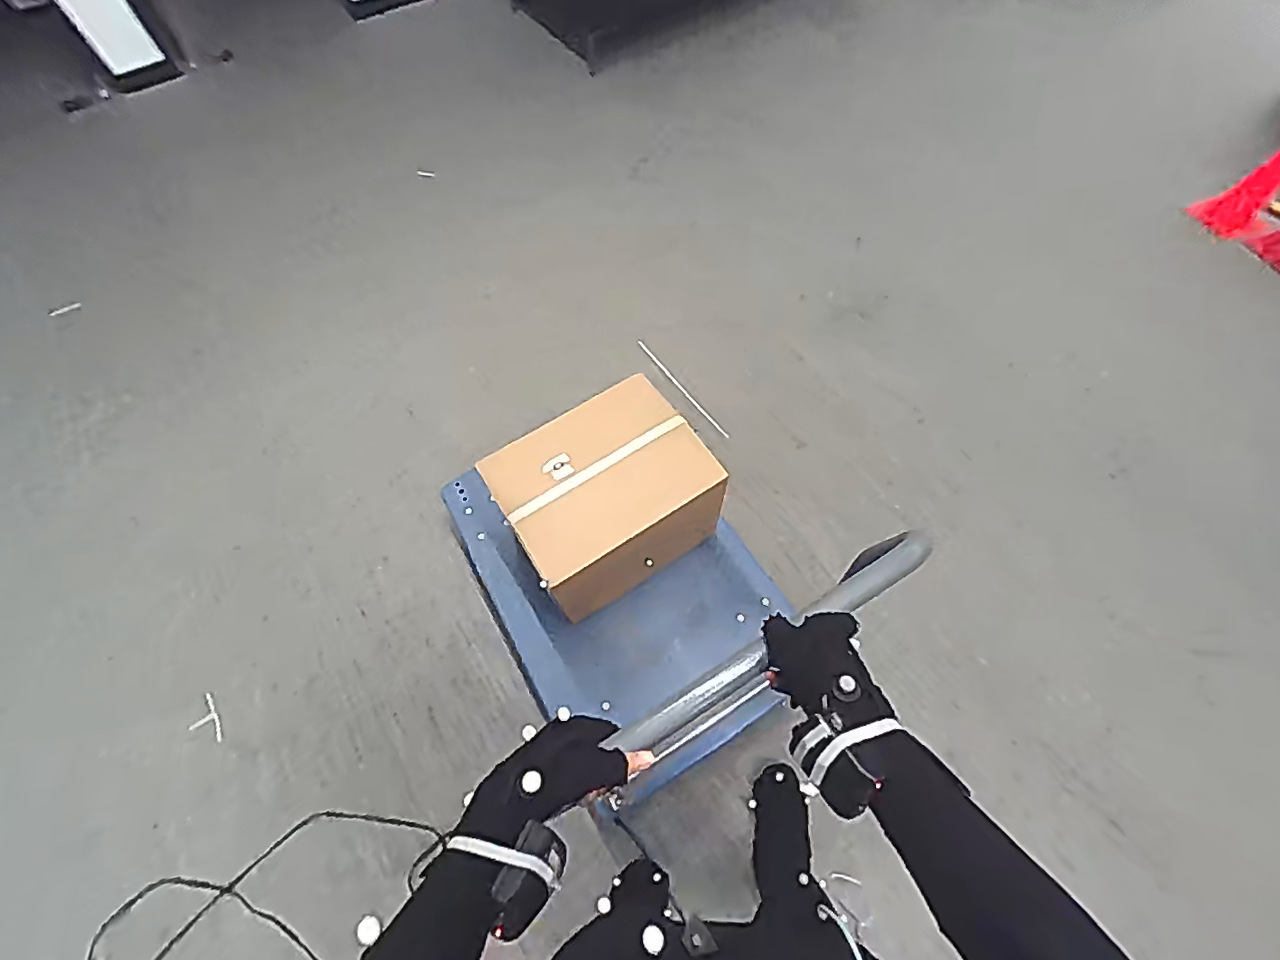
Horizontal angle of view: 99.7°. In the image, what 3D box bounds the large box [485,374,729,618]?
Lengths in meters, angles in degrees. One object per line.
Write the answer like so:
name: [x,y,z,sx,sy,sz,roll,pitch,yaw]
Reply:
large box: [-0.063,0.045,1.208,0.408,0.320,0.320,-32,66,-13]
